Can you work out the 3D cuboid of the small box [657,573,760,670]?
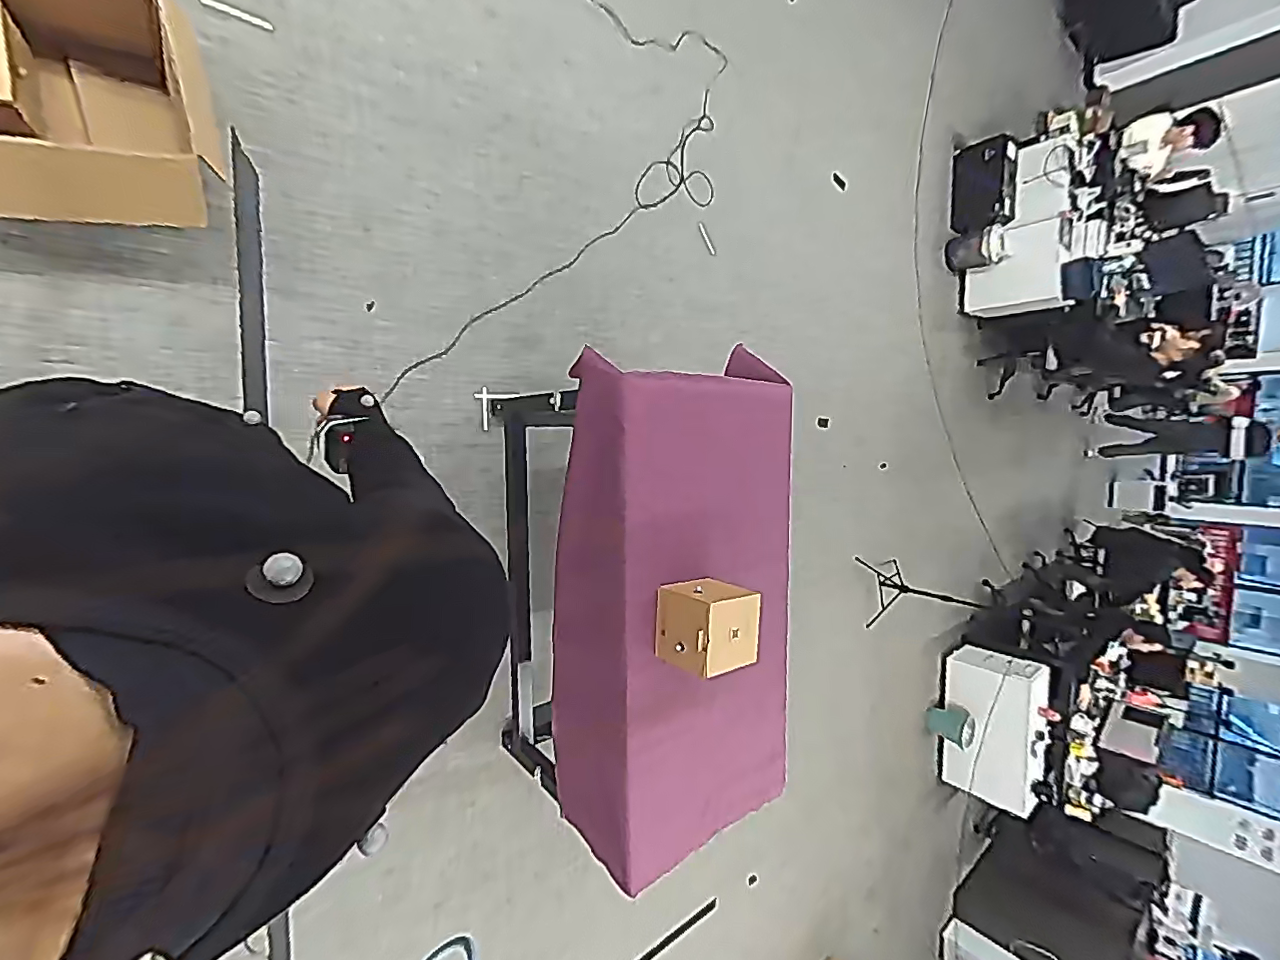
[{"bbox_3d":[0.157,0.322,1.265,0.179,0.176,0.168,0,95,-40],"label":"small box"}]
